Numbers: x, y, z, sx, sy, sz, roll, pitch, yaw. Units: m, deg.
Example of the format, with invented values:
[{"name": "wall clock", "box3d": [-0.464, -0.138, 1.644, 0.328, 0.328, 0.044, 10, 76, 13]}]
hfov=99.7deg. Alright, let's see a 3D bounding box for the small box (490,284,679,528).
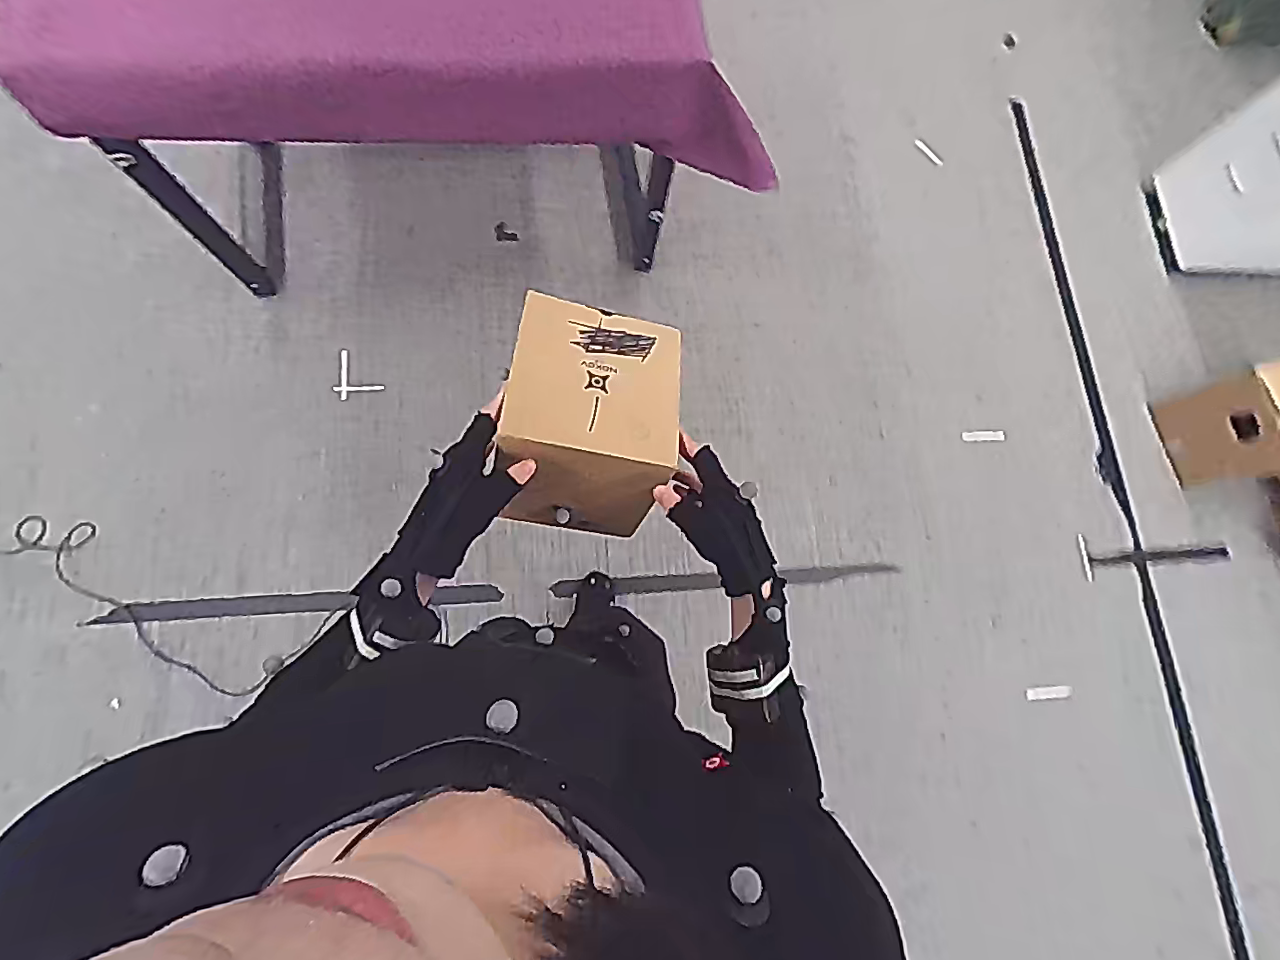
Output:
[{"name": "small box", "box3d": [-0.063, -0.069, 0.579, 0.168, 0.176, 0.179, 10, 59, -13]}]
